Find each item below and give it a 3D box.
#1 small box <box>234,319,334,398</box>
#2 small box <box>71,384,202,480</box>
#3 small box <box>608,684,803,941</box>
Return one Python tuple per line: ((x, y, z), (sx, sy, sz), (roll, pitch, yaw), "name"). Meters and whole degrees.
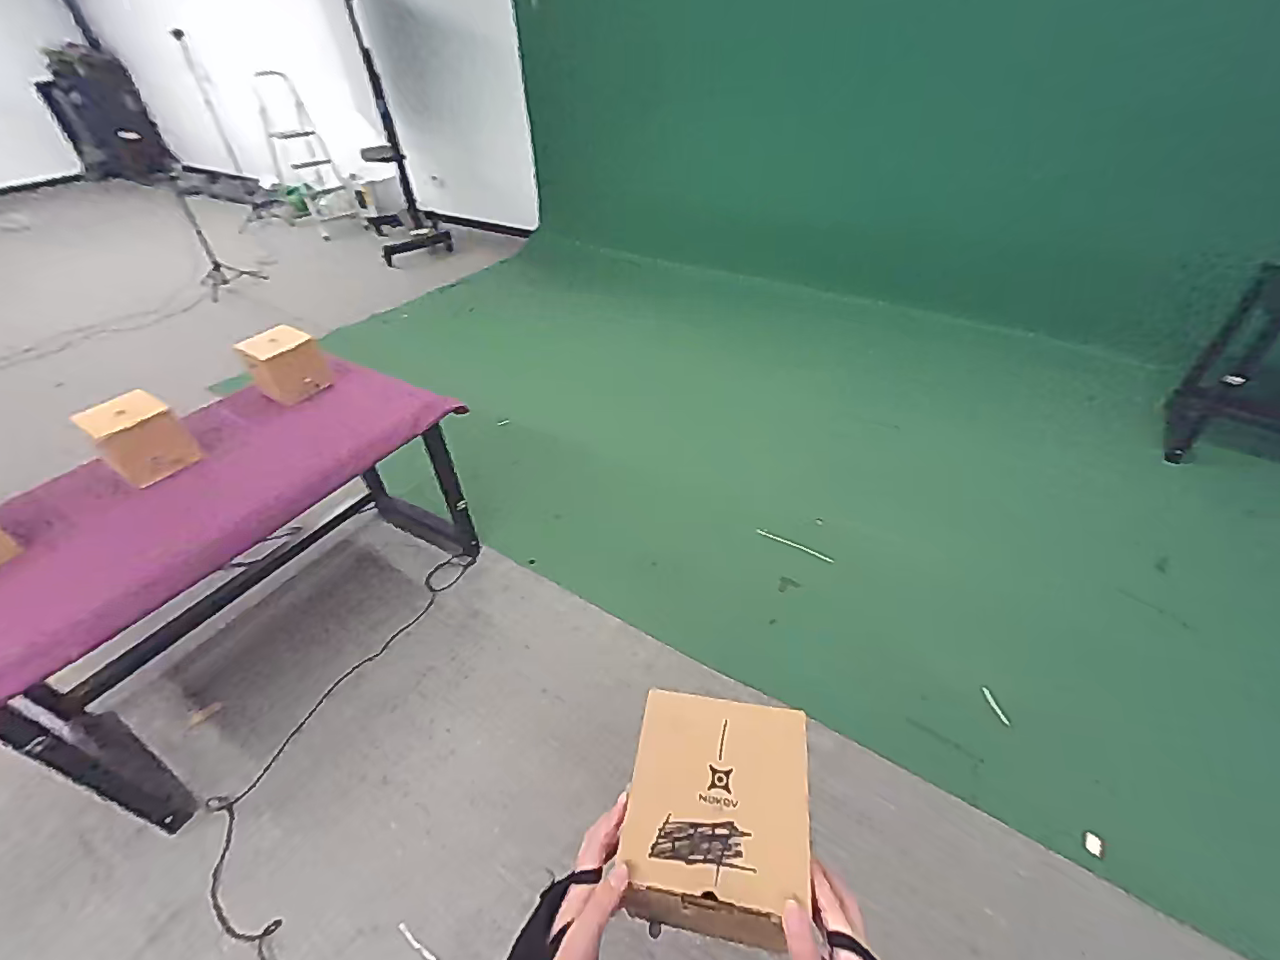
((-1.118, -0.382, 1.708), (0.179, 0.176, 0.168), (23, 50, 24), "small box")
((-1.326, -0.125, 1.434), (0.179, 0.176, 0.168), (23, 47, 23), "small box")
((0.074, 0.342, 0.559), (0.168, 0.176, 0.179), (5, 43, 10), "small box")
